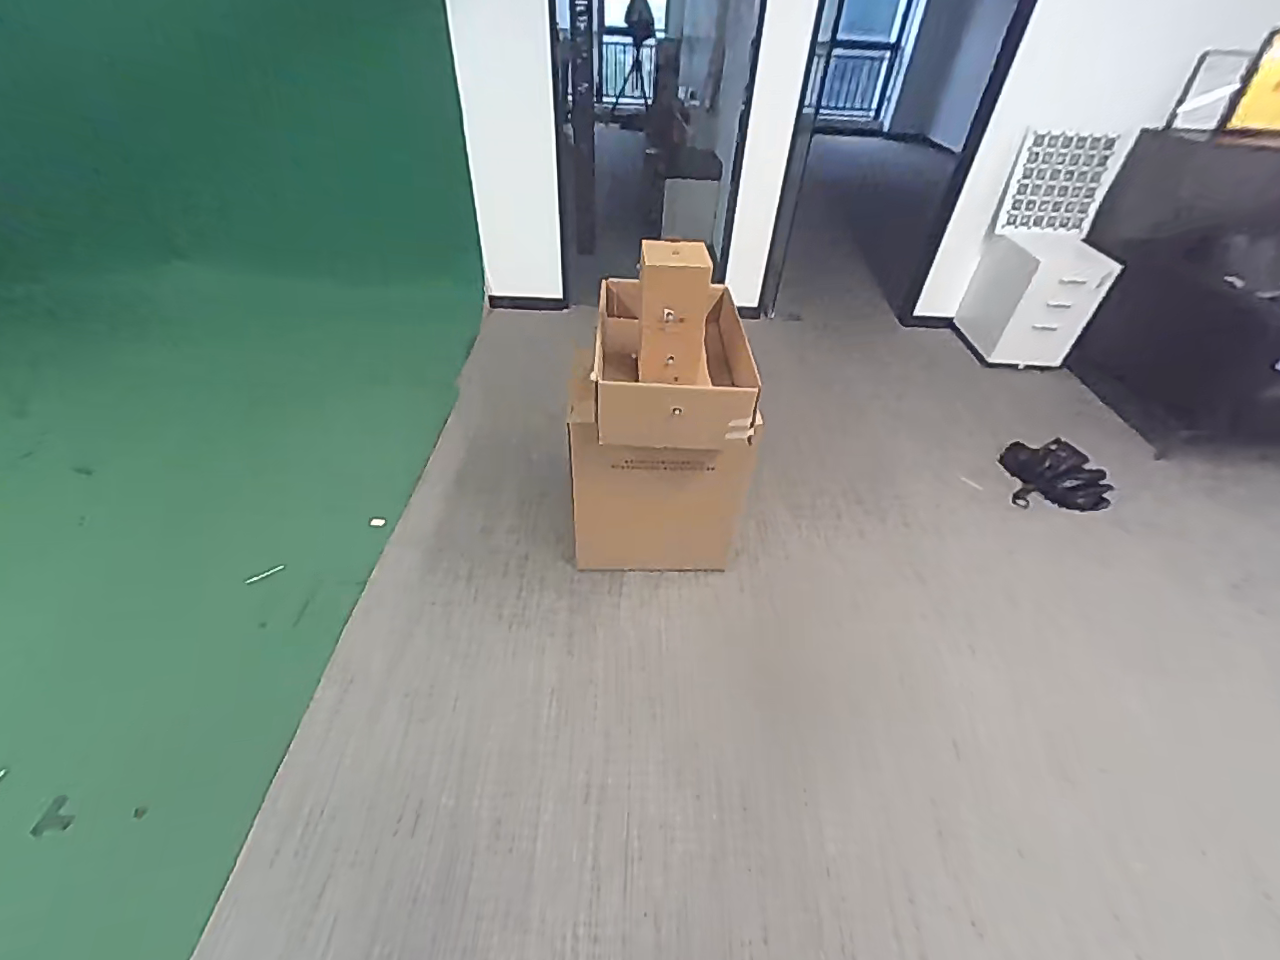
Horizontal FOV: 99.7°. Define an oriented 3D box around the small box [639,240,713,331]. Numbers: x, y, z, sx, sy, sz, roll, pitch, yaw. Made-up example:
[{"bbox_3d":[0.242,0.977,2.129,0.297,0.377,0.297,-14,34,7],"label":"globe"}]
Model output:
[{"bbox_3d":[0.087,-0.505,1.405,0.168,0.176,0.179,0,42,-4],"label":"small box"}]
